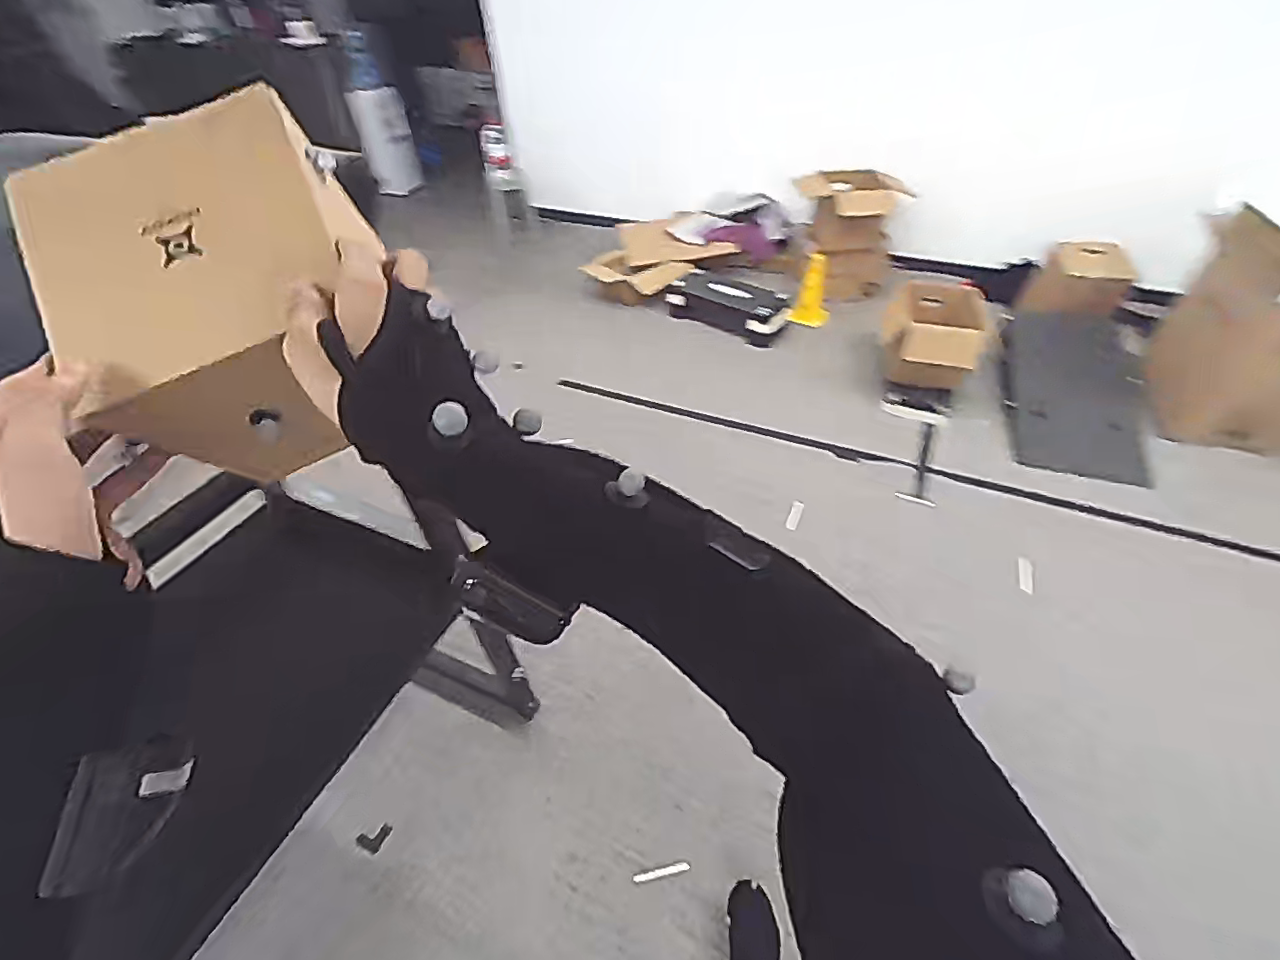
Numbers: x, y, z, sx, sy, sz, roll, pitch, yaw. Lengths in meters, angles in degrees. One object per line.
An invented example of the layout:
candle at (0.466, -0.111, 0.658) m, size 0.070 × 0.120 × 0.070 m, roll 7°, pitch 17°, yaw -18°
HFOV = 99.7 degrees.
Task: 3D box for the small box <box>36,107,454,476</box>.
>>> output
small box at (-0.265, -0.117, 0.405) m, size 0.168 × 0.176 × 0.179 m, roll -26°, pitch 78°, yaw -7°
